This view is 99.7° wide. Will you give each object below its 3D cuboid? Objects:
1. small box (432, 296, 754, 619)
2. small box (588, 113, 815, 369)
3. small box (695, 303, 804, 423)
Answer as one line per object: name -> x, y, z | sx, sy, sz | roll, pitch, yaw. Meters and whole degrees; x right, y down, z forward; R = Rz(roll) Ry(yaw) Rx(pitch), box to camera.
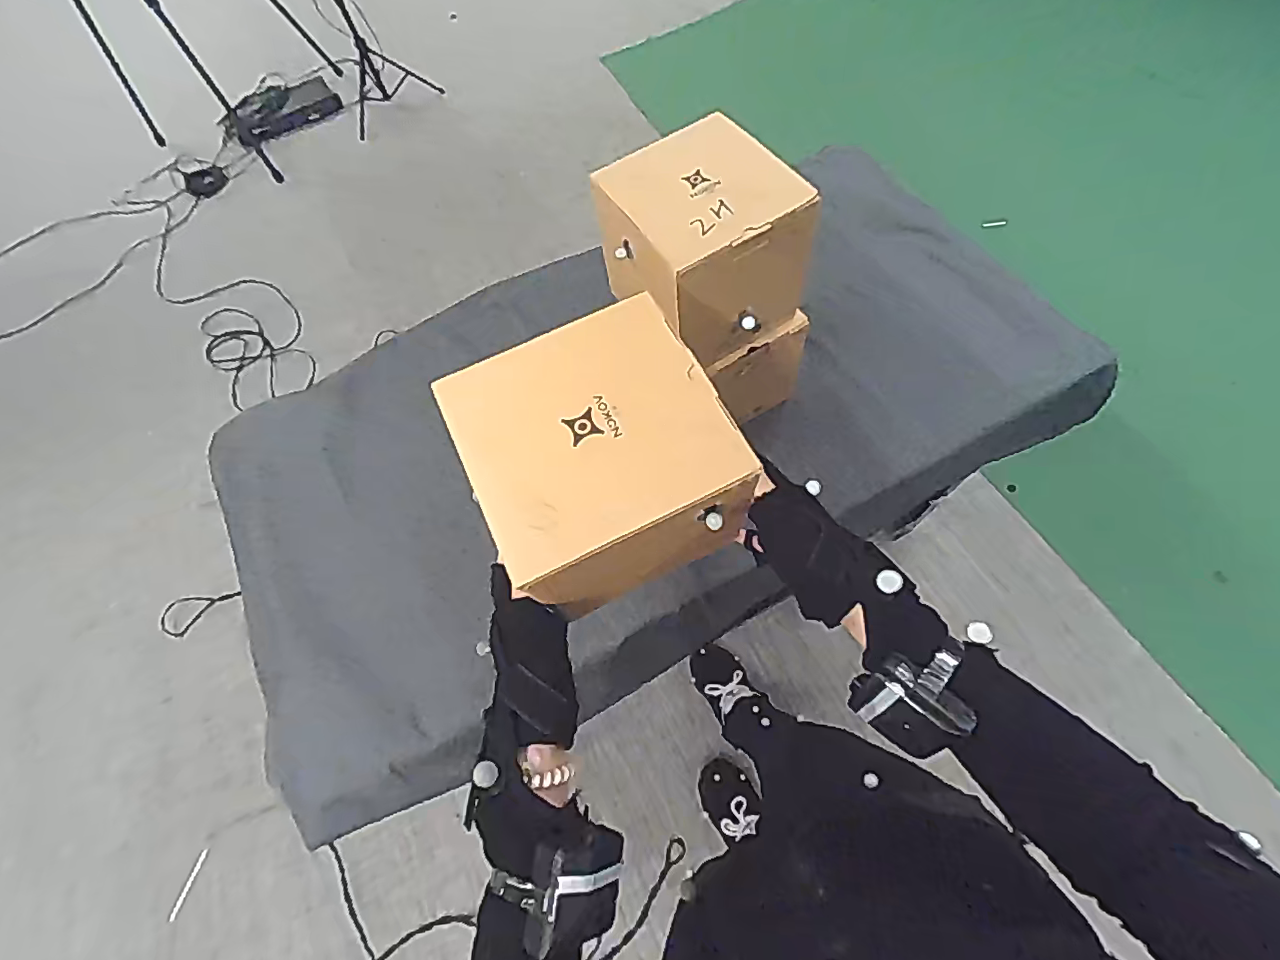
small box -> -0.031, -0.005, 0.436 | 0.179, 0.176, 0.168 | -26, 69, -7
small box -> 0.064, -0.259, 0.611 | 0.168, 0.176, 0.179 | -31, 66, -7
small box -> 0.100, -0.185, 0.754 | 0.168, 0.176, 0.179 | -30, 65, -7
